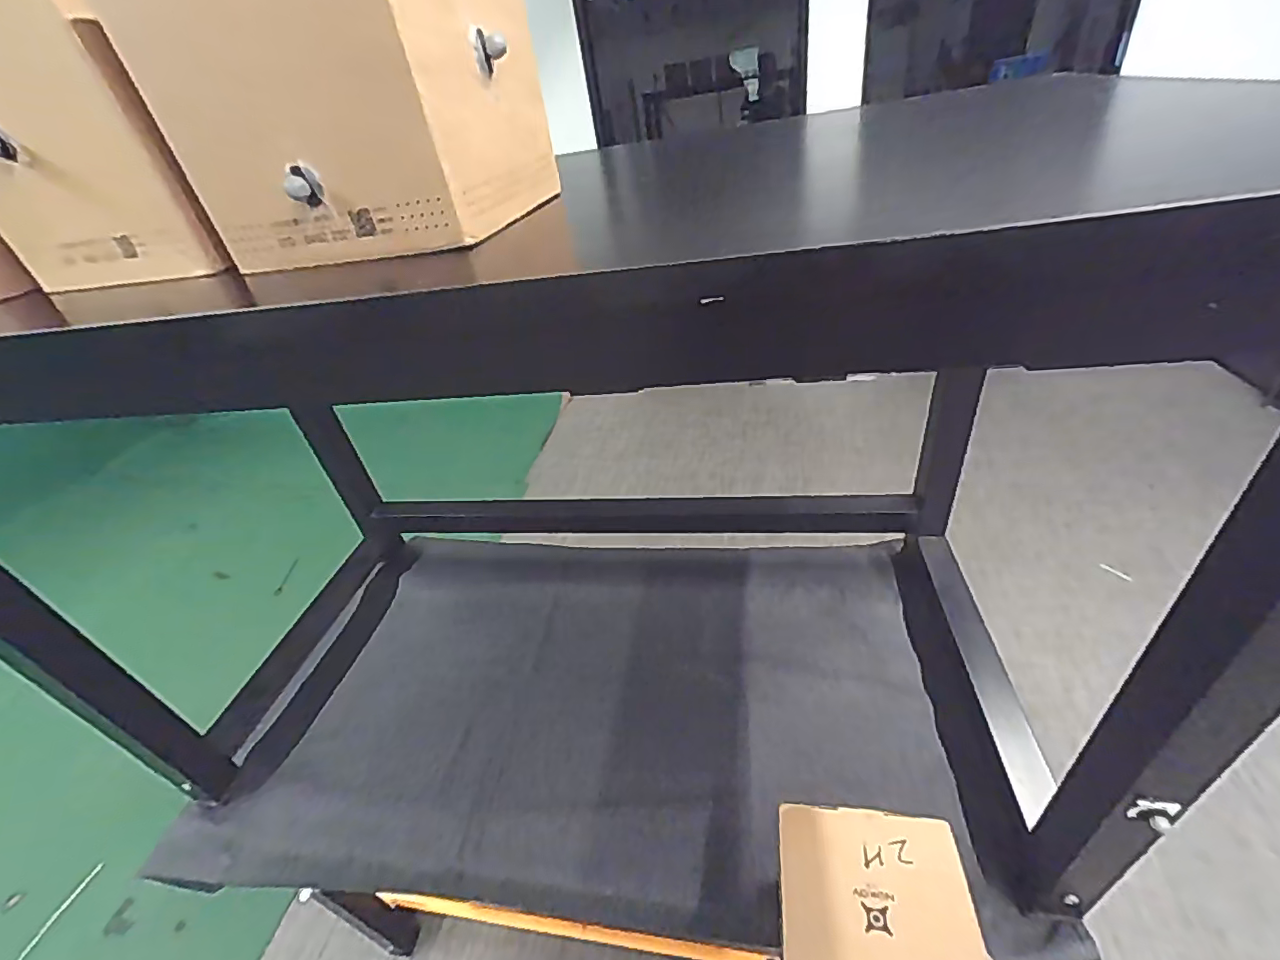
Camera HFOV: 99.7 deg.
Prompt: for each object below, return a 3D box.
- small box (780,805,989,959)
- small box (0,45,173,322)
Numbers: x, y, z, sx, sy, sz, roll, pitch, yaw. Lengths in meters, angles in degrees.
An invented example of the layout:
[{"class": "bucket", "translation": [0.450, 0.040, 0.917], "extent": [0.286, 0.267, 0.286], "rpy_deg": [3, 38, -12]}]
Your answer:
[{"class": "small box", "translation": [0.224, 0.455, 0.520], "extent": [0.168, 0.176, 0.179], "rpy_deg": [-2, 29, 13]}, {"class": "small box", "translation": [-0.549, -0.239, 0.447], "extent": [0.168, 0.176, 0.179], "rpy_deg": [0, 37, 14]}]
